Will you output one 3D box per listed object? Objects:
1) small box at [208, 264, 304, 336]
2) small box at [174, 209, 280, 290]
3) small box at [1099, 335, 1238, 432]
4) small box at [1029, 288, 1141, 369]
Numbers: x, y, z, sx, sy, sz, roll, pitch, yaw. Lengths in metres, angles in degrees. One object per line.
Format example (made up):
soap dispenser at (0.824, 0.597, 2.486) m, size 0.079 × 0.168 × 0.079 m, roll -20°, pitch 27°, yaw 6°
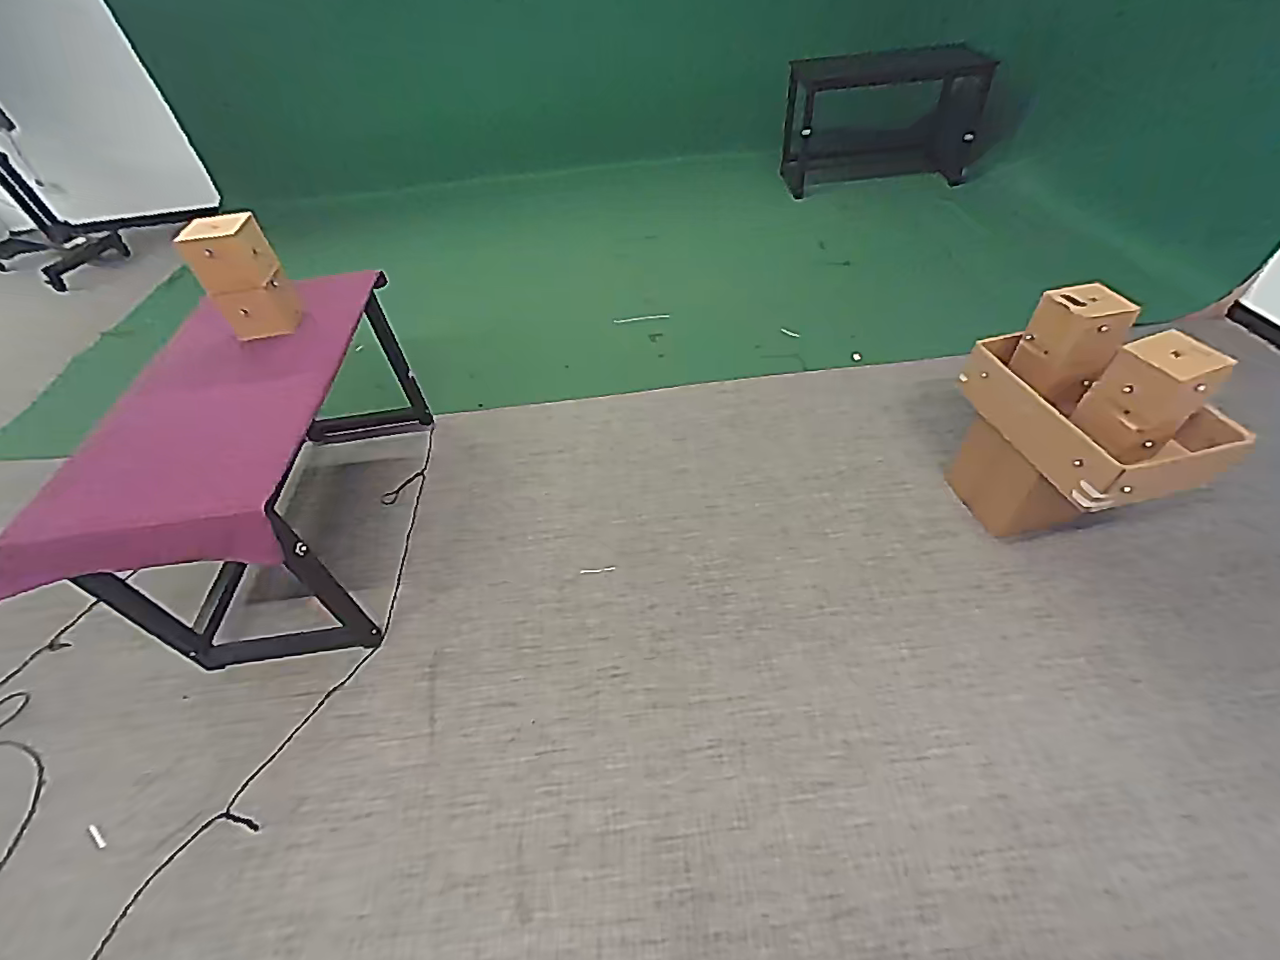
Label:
small box at (-1.259, -0.595, 1.786) m, size 0.179 × 0.176 × 0.168 m, roll -10°, pitch 48°, yaw -3°
small box at (-1.260, -0.708, 1.667) m, size 0.179 × 0.176 × 0.168 m, roll -9°, pitch 48°, yaw -3°
small box at (1.361, -0.248, 1.414) m, size 0.179 × 0.176 × 0.168 m, roll -17°, pitch 48°, yaw -9°
small box at (1.304, -0.446, 1.607) m, size 0.179 × 0.176 × 0.168 m, roll -9°, pitch 46°, yaw -5°
